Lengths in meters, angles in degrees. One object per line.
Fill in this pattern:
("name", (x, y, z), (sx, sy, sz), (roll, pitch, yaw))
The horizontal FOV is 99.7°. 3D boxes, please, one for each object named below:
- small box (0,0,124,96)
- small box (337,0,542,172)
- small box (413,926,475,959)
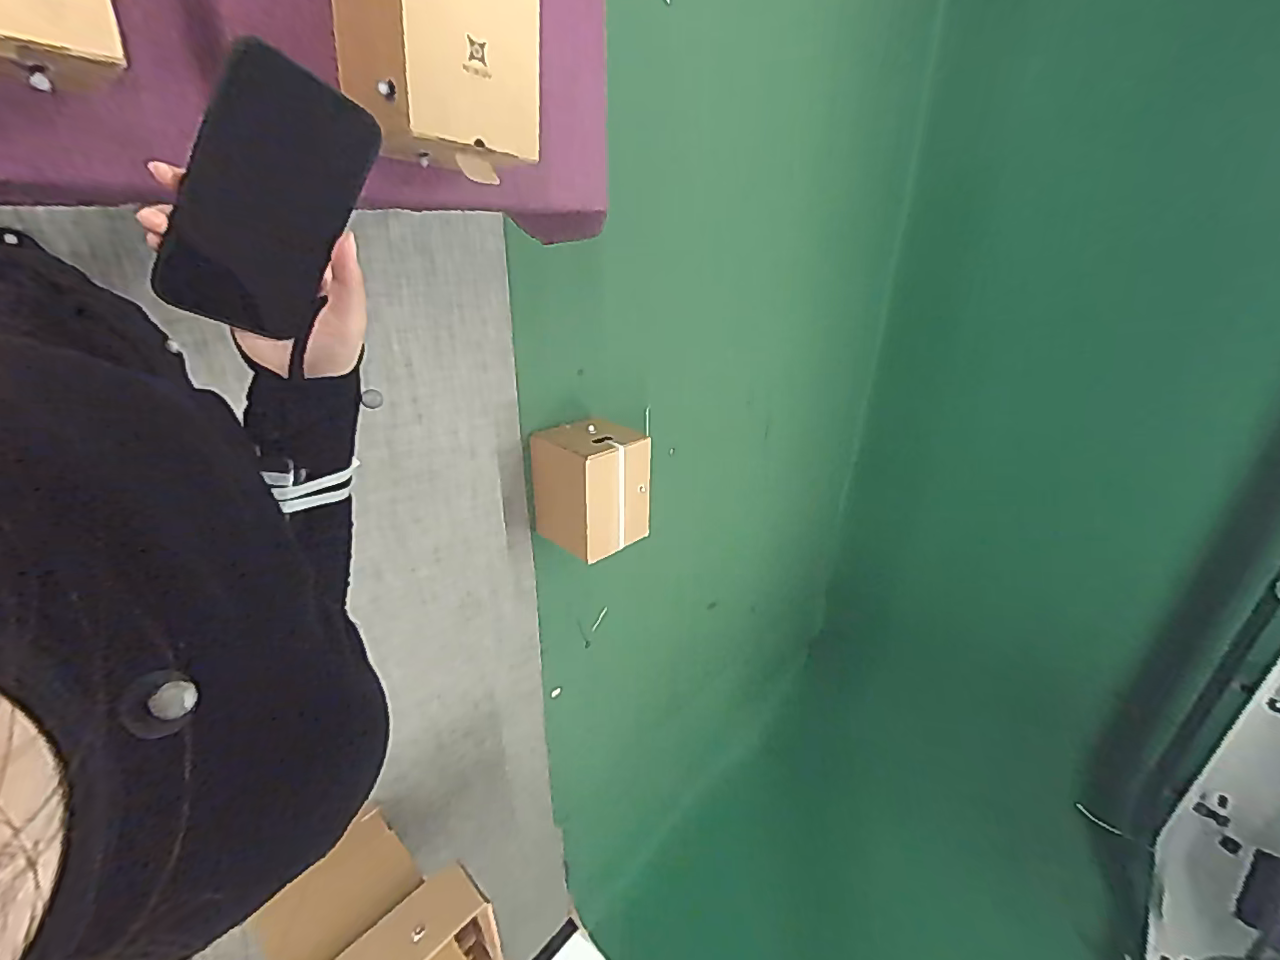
("small box", (-0.493, -0.388, 0.368), (0.168, 0.176, 0.179), (-21, 122, -43))
("small box", (-0.231, -0.474, 0.629), (0.168, 0.176, 0.179), (-18, 121, -44))
("small box", (-0.567, 1.468, 1.583), (0.168, 0.176, 0.179), (-32, 130, -36))
